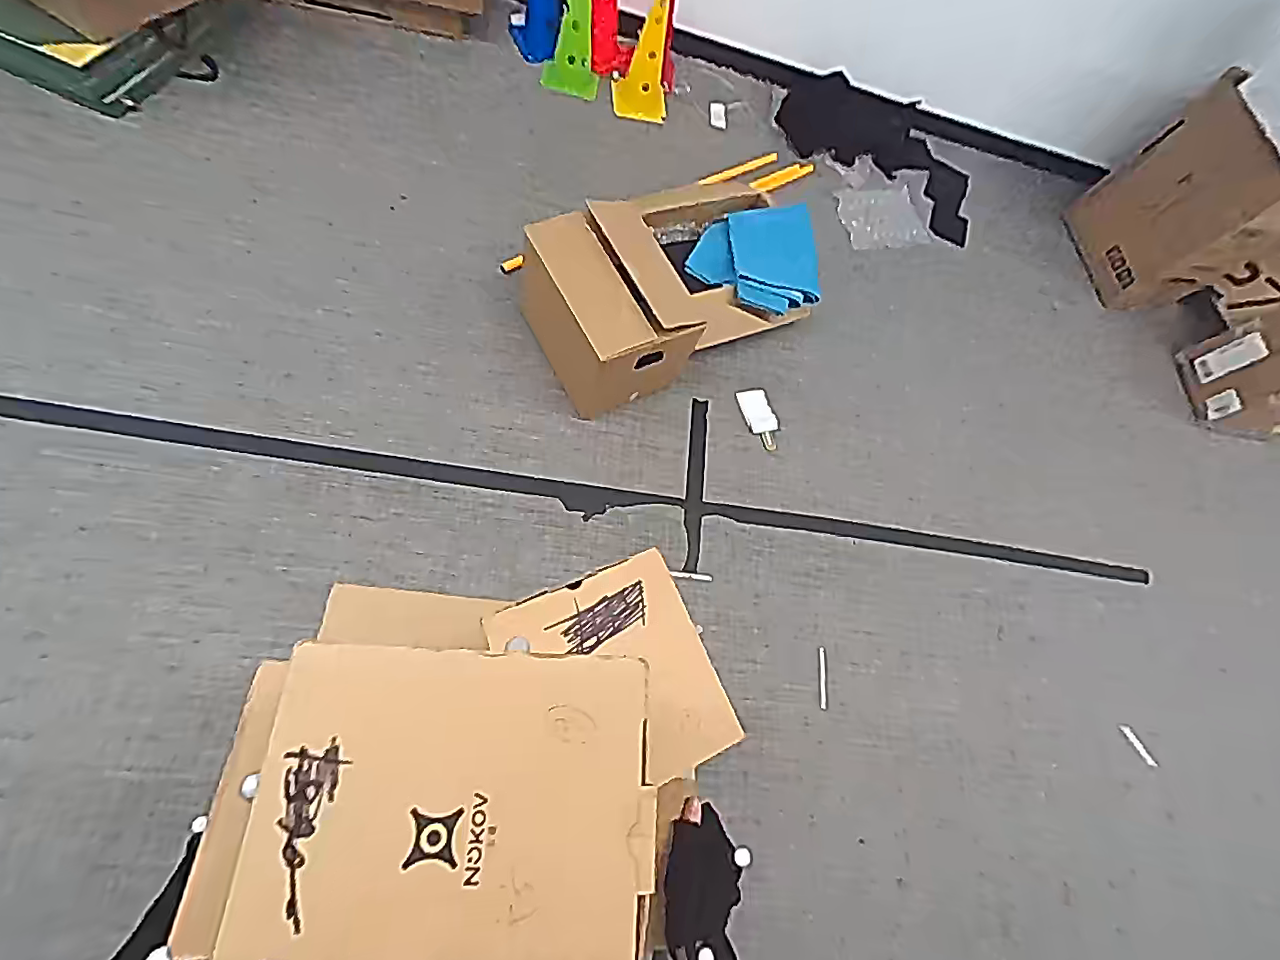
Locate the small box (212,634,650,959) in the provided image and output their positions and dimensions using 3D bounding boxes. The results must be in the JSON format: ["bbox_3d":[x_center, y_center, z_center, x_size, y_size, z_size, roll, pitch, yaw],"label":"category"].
[{"bbox_3d":[-0.098,0.187,0.316,0.179,0.176,0.168,6,67,-9],"label":"small box"}]

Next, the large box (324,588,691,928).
[{"bbox_3d":[-0.171,0.334,0.689,0.408,0.320,0.320,7,68,-10],"label":"large box"}]
